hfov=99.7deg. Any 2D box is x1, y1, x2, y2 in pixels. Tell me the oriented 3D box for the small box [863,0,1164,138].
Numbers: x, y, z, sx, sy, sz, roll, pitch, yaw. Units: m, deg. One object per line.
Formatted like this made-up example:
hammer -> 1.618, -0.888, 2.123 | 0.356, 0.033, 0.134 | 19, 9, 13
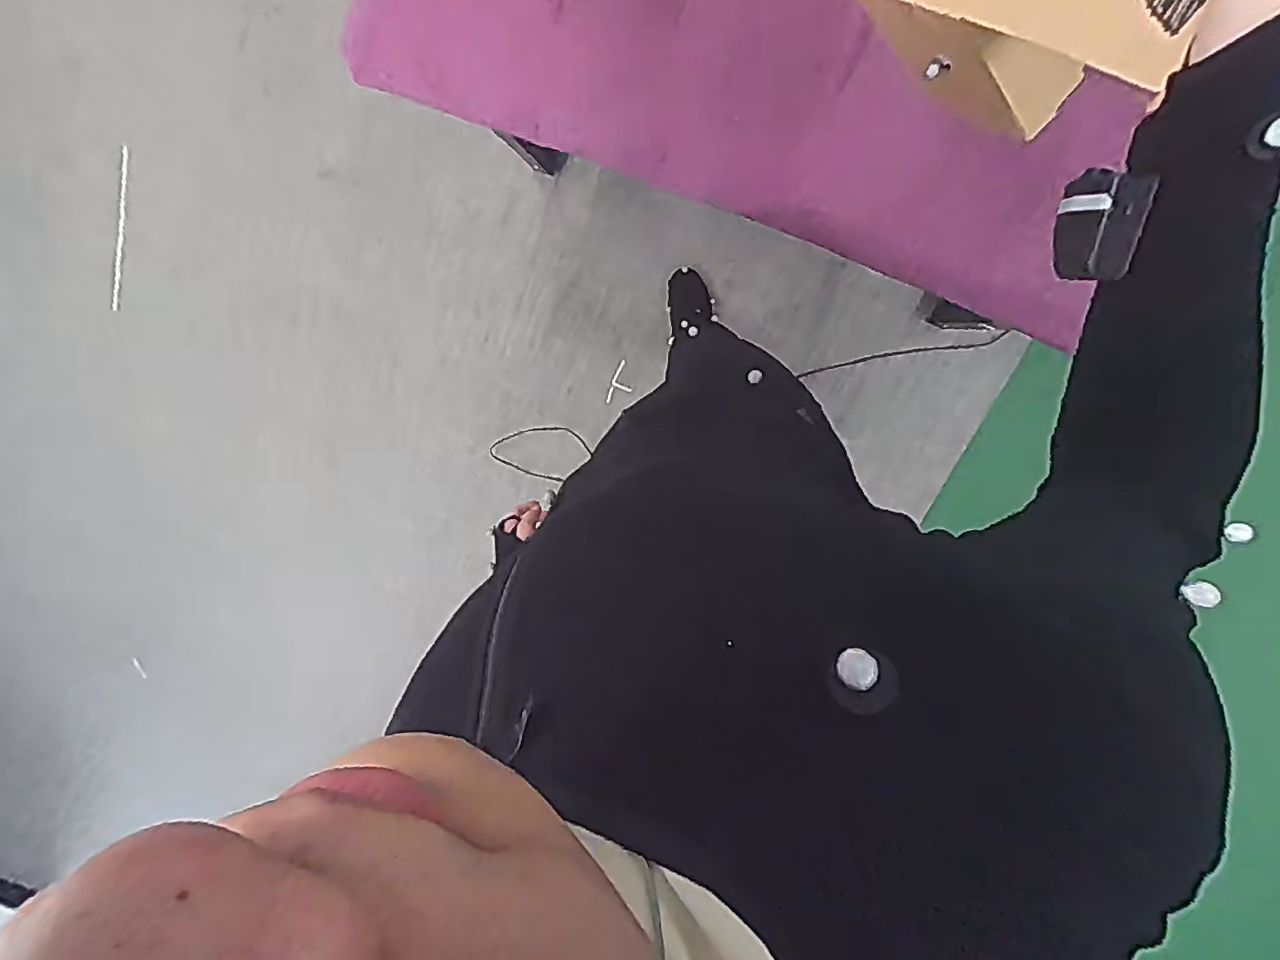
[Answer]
small box -> 0.334, -0.457, 0.480 | 0.179, 0.176, 0.168 | 14, 129, -38
